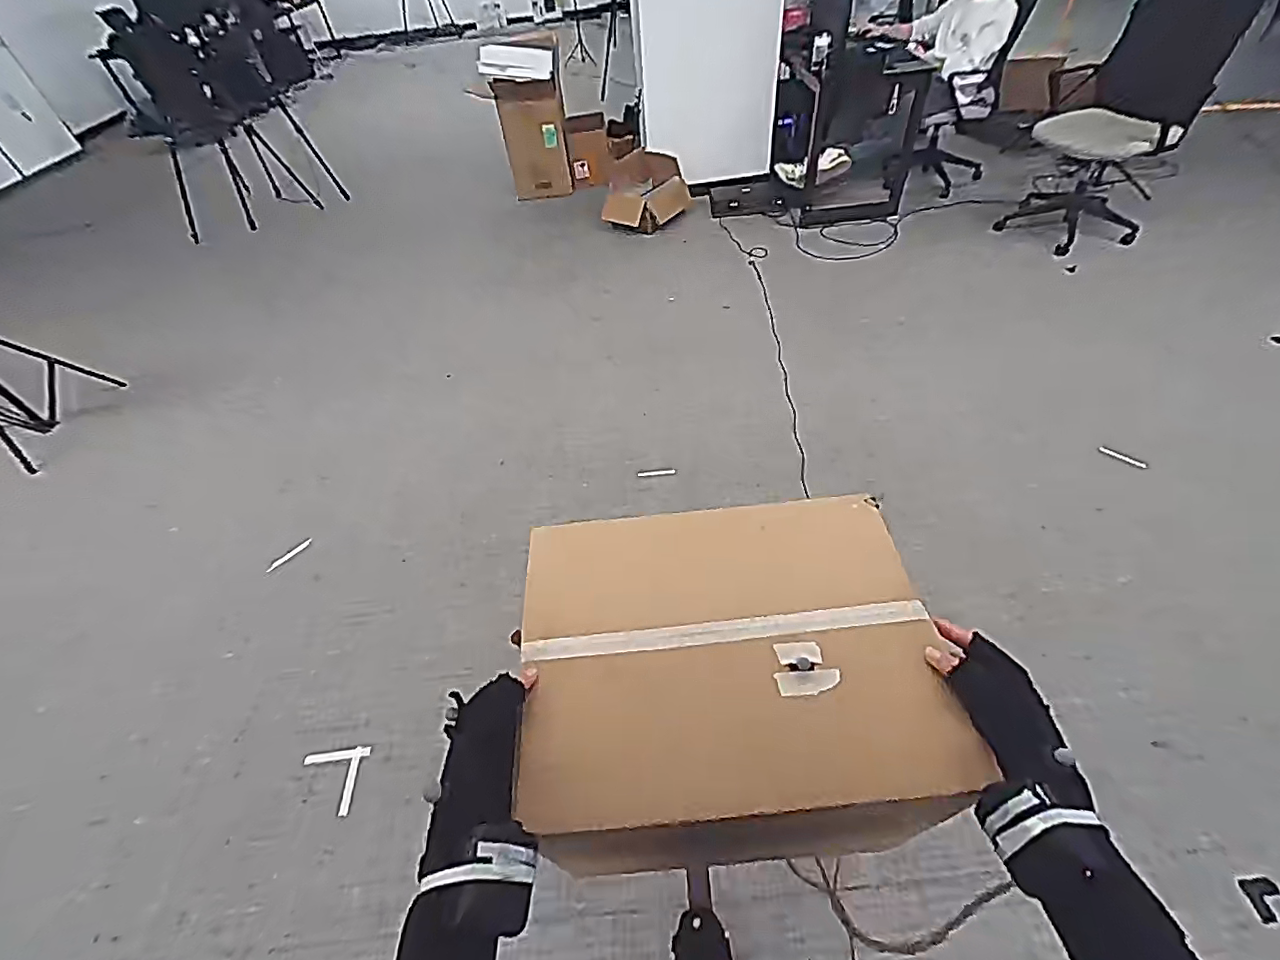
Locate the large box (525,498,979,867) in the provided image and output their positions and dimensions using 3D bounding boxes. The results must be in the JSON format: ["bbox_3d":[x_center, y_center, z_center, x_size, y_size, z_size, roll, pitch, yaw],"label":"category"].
[{"bbox_3d":[0.093,0.254,0.669,0.408,0.320,0.320,-6,50,0],"label":"large box"}]
